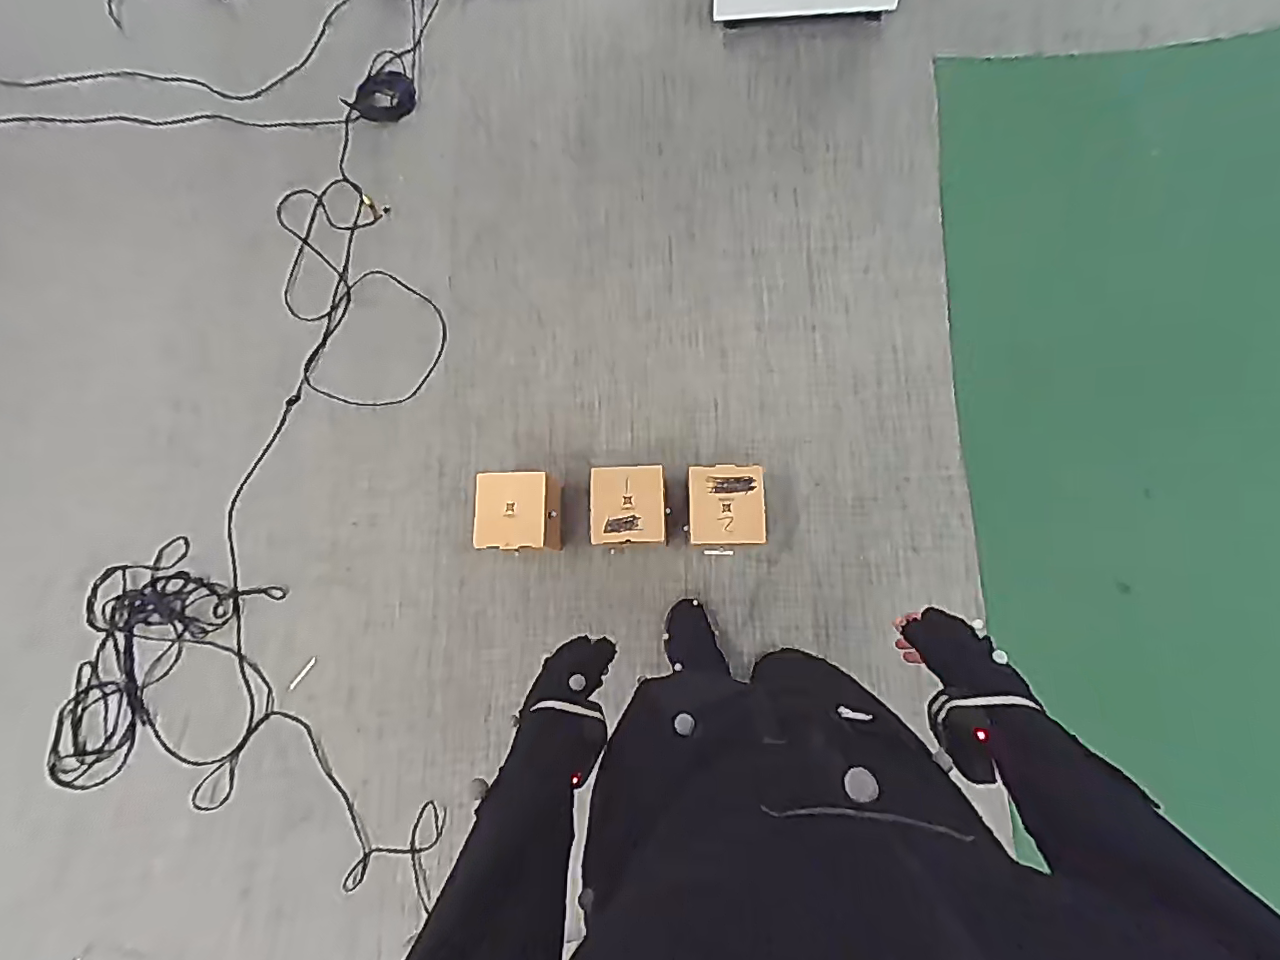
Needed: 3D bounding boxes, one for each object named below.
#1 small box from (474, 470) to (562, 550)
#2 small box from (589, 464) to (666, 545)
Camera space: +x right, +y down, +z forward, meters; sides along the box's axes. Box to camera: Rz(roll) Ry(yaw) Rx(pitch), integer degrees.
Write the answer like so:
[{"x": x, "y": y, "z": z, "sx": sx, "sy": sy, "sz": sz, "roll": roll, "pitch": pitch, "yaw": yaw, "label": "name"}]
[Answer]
[{"x": -0.291, "y": 0.078, "z": 1.323, "sx": 0.168, "sy": 0.176, "sz": 0.179, "roll": -1, "pitch": 80, "yaw": 5, "label": "small box"}, {"x": -0.026, "y": 0.065, "z": 1.298, "sx": 0.168, "sy": 0.176, "sz": 0.179, "roll": -2, "pitch": 78, "yaw": 6, "label": "small box"}]
